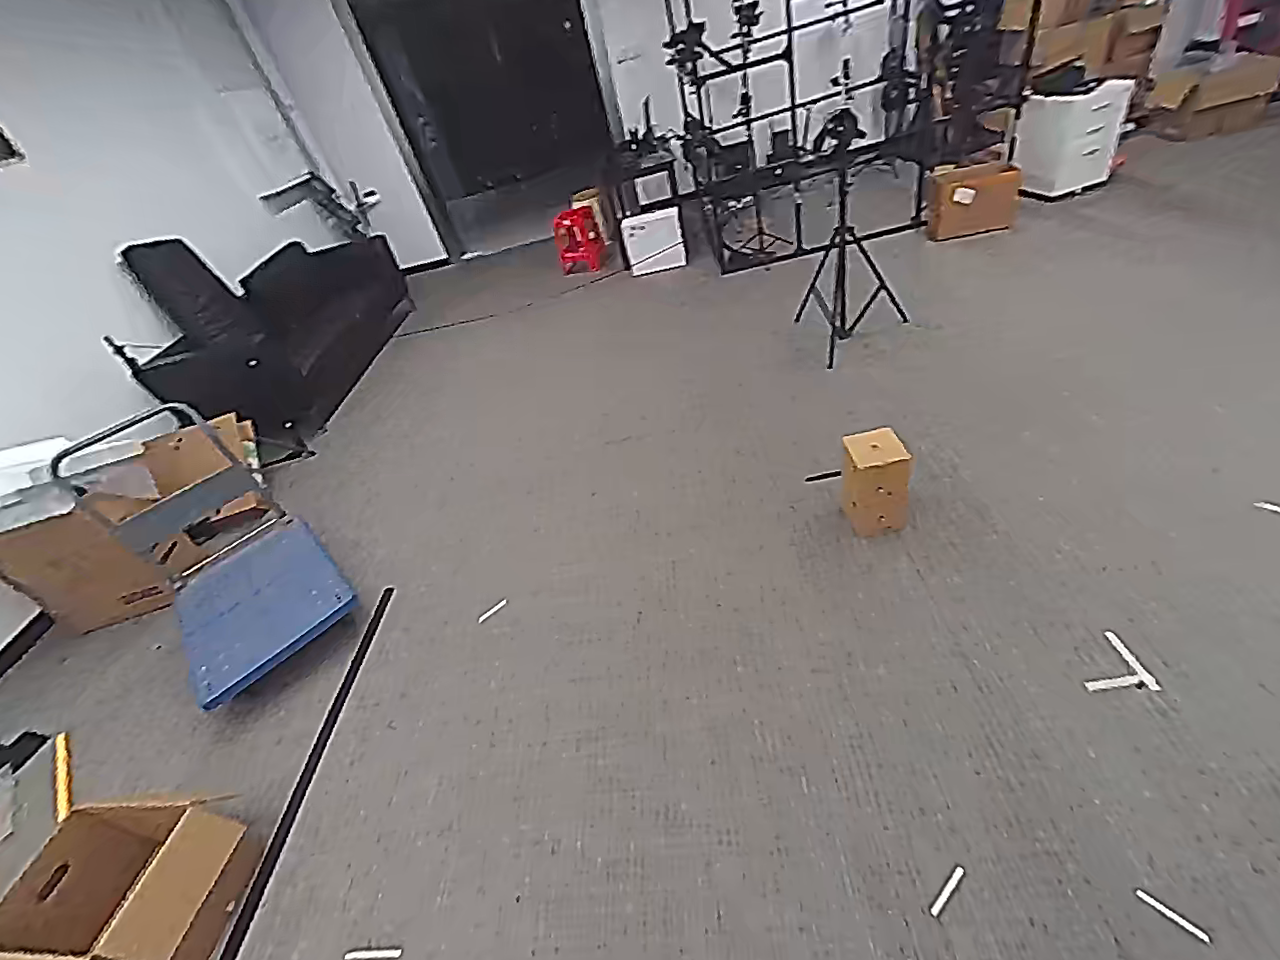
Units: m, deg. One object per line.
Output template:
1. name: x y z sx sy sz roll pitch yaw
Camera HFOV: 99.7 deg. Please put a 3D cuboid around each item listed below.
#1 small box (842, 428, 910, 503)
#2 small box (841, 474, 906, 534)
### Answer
1. small box: 0.794 -0.047 1.839 0.168 0.176 0.179 -13 39 6
2. small box: 0.833 0.075 1.939 0.168 0.176 0.179 -13 38 5
